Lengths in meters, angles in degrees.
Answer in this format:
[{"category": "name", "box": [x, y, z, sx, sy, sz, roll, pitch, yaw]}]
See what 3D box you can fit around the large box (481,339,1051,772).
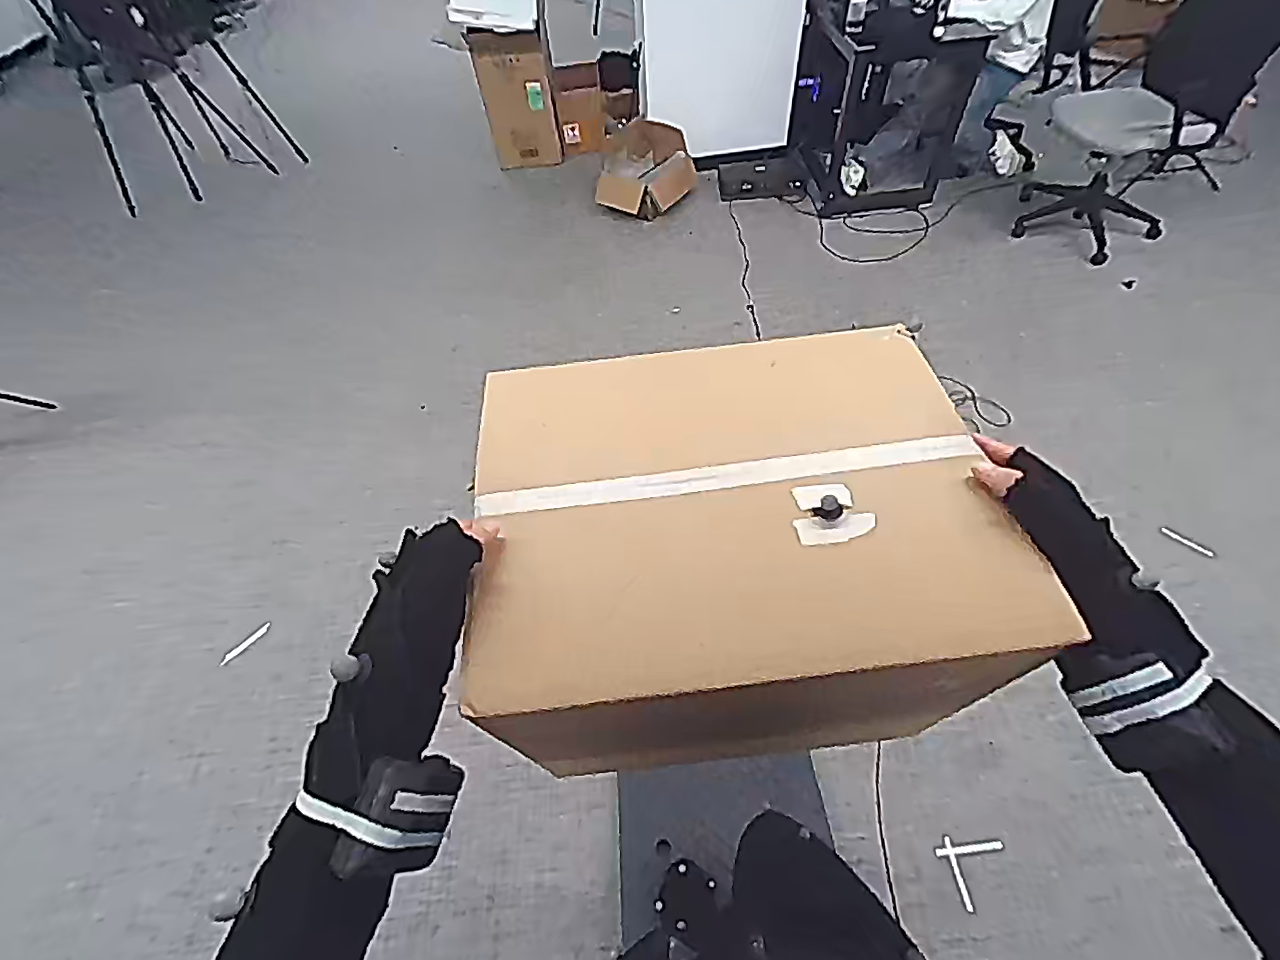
[{"category": "large box", "box": [0.078, 0.091, 0.571, 0.408, 0.320, 0.320, -7, 55, -1]}]
